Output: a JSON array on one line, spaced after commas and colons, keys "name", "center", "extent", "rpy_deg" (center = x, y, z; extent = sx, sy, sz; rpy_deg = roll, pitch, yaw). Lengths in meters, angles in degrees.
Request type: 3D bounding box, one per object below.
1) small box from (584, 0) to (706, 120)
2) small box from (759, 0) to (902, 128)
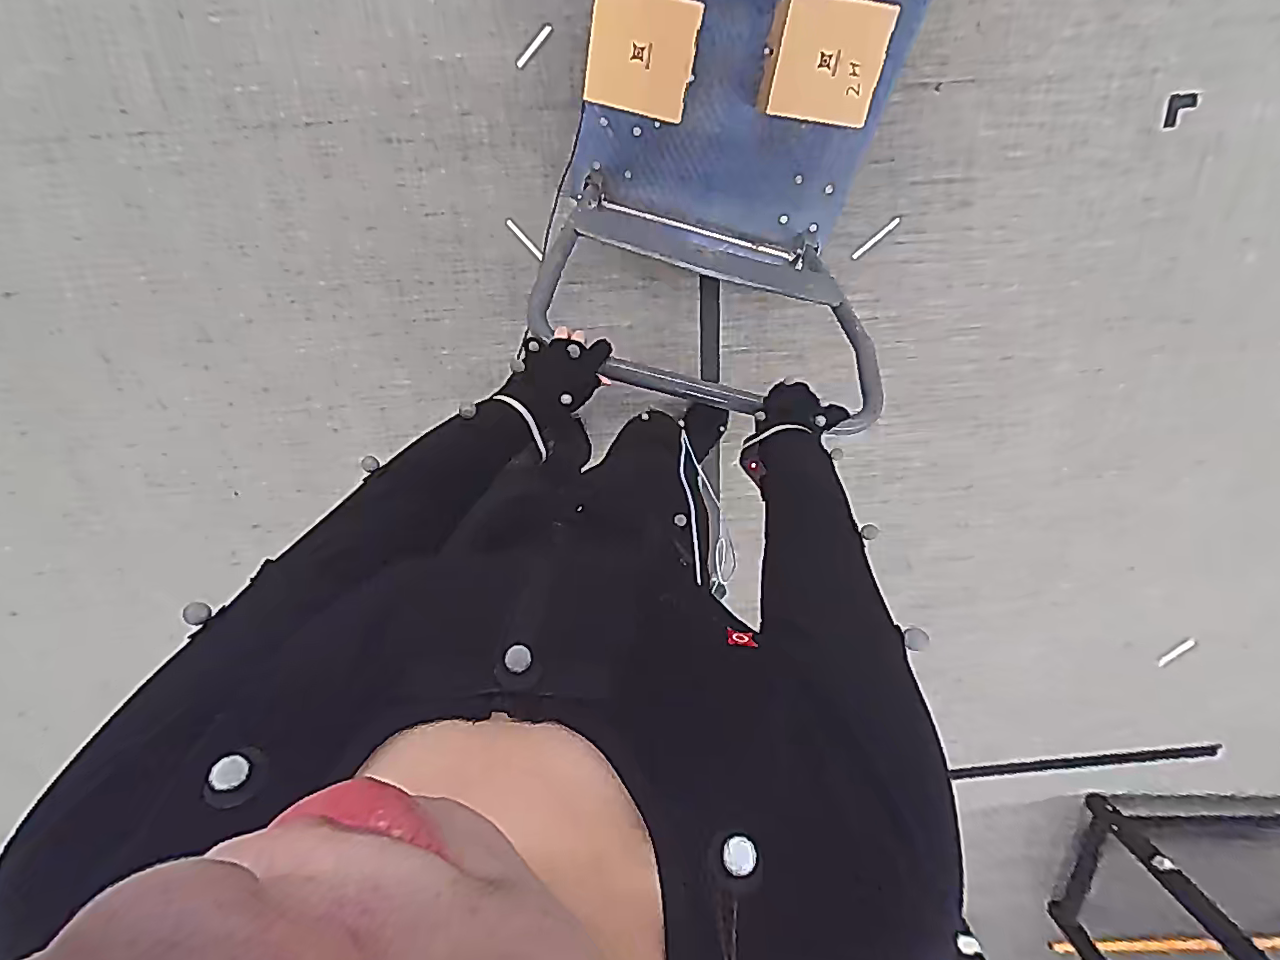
[{"name": "small box", "center": [0.007, -0.758, 0.960], "extent": [0.179, 0.176, 0.168], "rpy_deg": [11, 126, -6]}, {"name": "small box", "center": [0.319, -0.735, 0.953], "extent": [0.179, 0.176, 0.168], "rpy_deg": [9, 127, -2]}]
